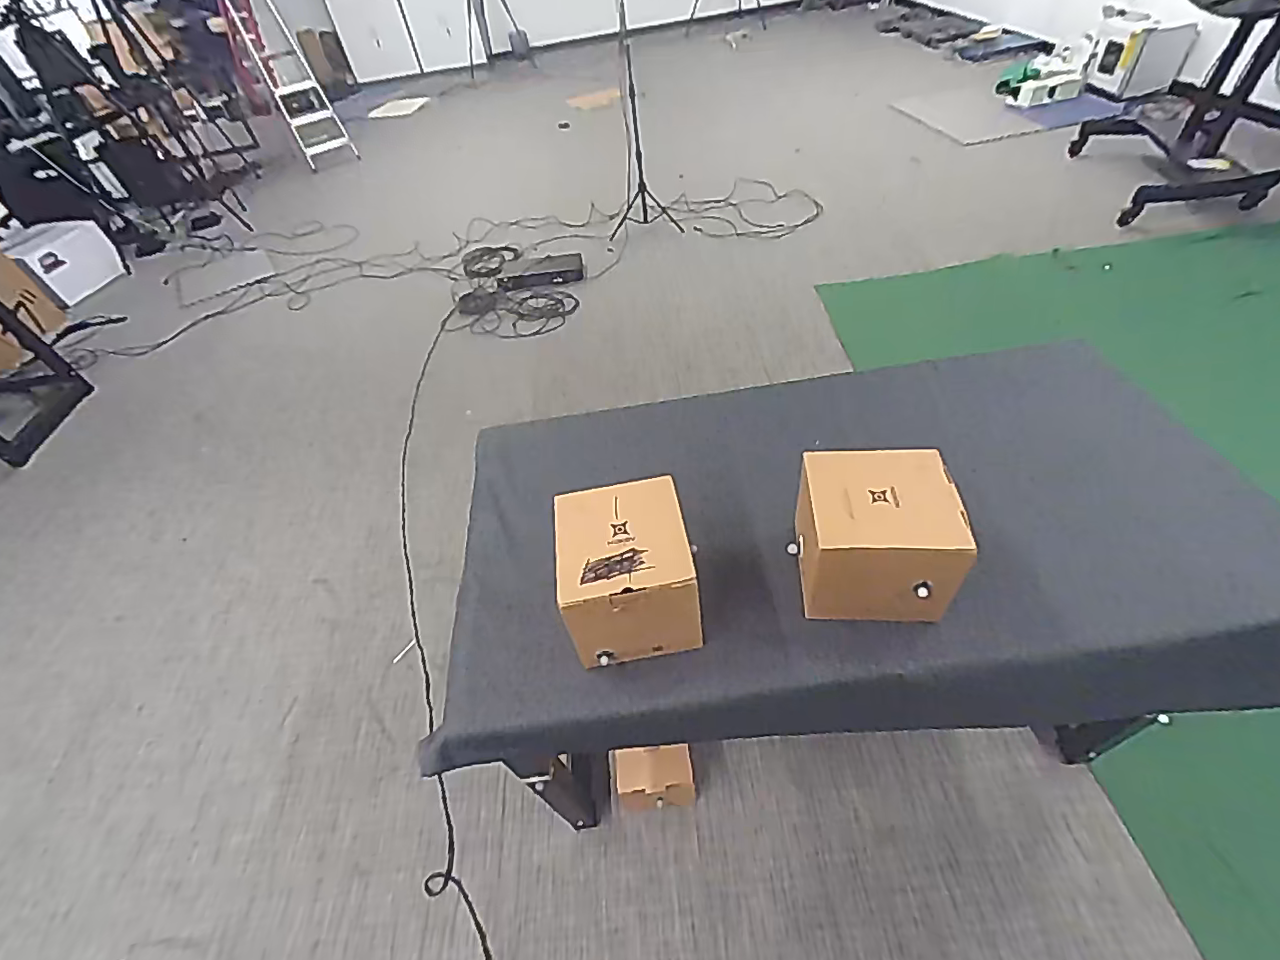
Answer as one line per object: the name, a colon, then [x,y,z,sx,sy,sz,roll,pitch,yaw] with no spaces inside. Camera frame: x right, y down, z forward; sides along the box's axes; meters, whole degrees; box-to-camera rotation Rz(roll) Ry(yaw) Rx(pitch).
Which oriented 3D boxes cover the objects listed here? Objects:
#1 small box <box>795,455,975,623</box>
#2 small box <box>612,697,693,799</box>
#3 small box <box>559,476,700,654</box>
small box: [0.315,0.082,0.738,0.179,0.176,0.168,-1,47,9]
small box: [0.031,0.634,1.270,0.168,0.176,0.179,-8,48,1]
small box: [-0.013,0.123,0.745,0.168,0.176,0.179,-9,46,0]
